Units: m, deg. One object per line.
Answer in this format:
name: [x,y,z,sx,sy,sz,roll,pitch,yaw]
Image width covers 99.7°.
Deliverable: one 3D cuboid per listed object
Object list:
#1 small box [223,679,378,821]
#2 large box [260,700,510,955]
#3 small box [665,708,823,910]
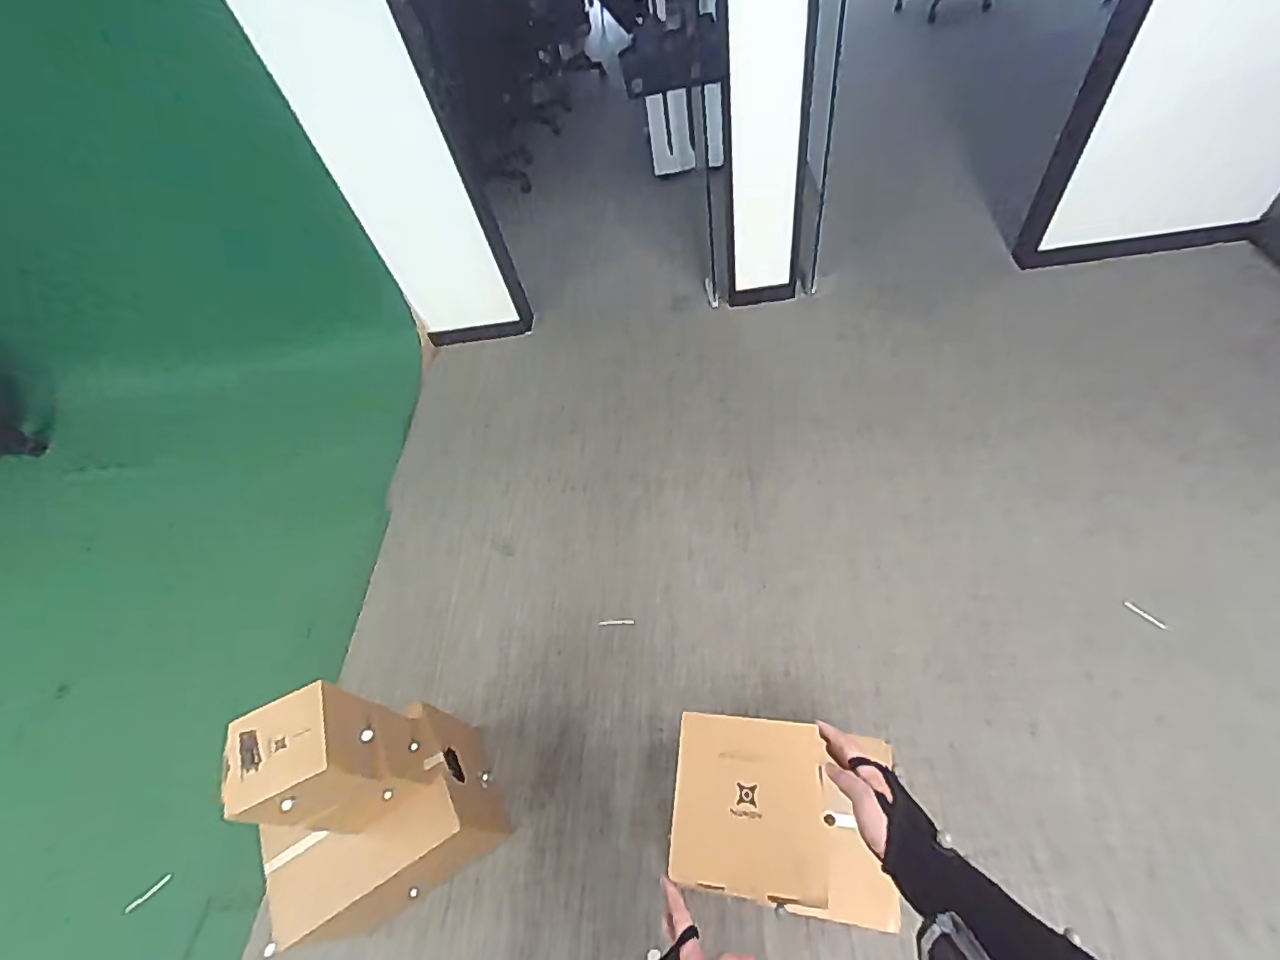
small box: [-0.617,0.502,0.998,0.179,0.176,0.168,-25,54,-7]
large box: [-0.588,0.804,1.286,0.408,0.320,0.320,-31,54,-10]
small box: [0.134,0.402,0.666,0.168,0.176,0.179,1,53,14]
